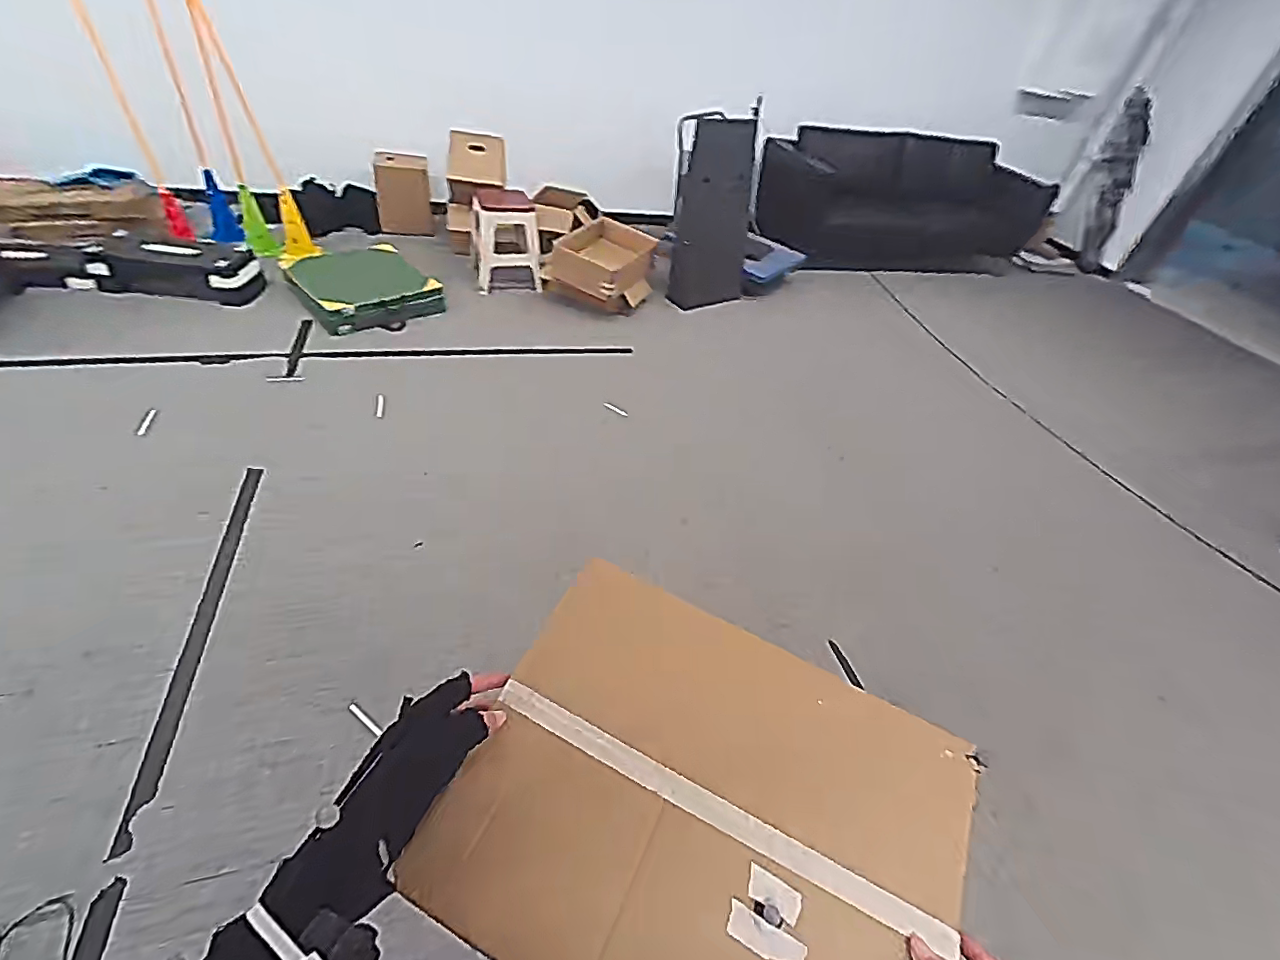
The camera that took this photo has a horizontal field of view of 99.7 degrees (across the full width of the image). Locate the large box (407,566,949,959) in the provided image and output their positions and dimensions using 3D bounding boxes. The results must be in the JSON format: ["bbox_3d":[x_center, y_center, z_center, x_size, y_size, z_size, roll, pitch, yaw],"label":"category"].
[{"bbox_3d":[0.040,0.363,0.590,0.408,0.320,0.320,25,56,11],"label":"large box"}]
